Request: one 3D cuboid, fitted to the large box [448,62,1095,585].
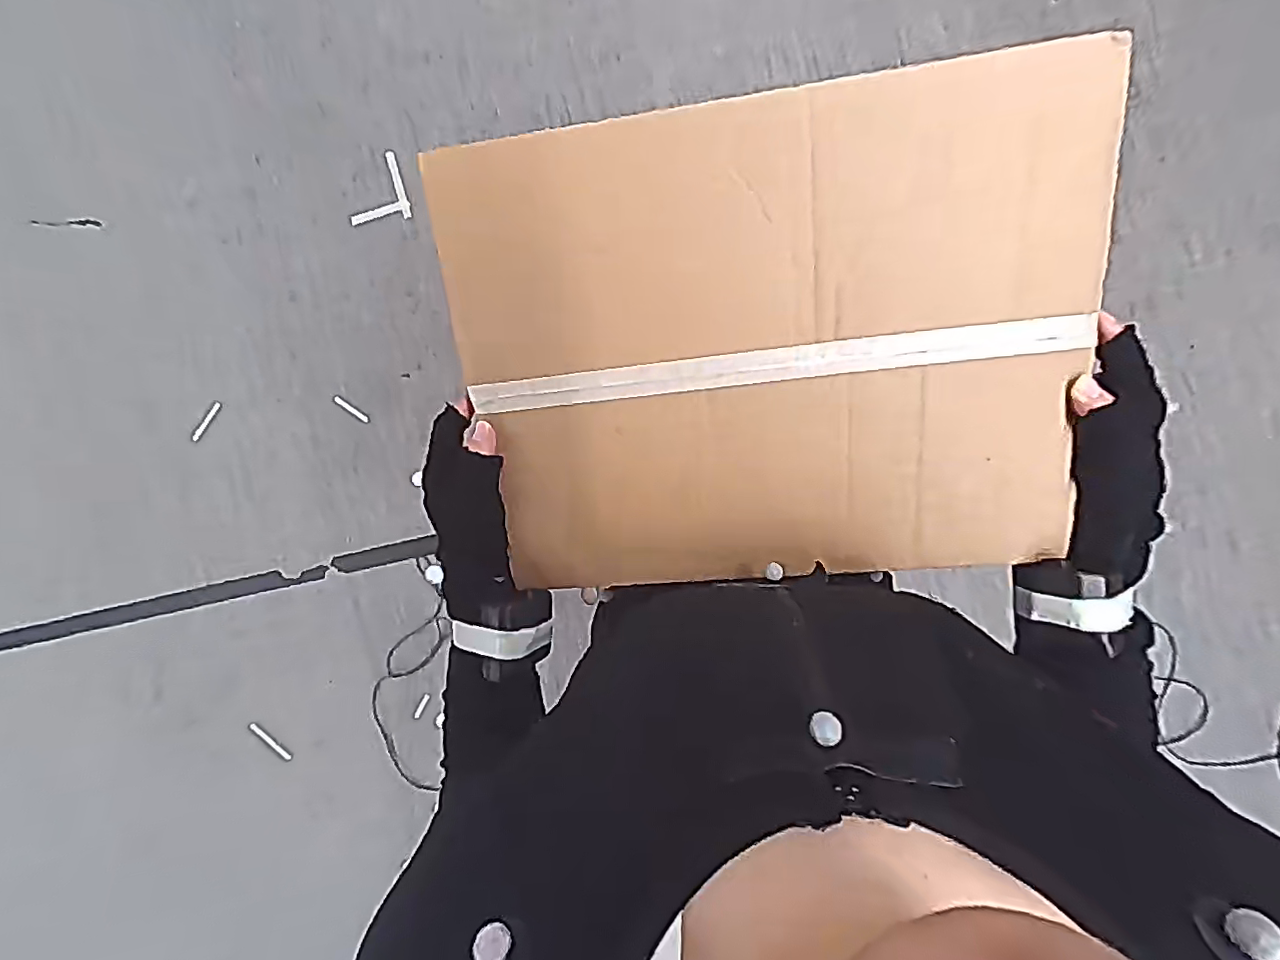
[{"bbox_3d":[0.098,-0.120,0.519,0.408,0.320,0.320,-5,109,8],"label":"large box"}]
